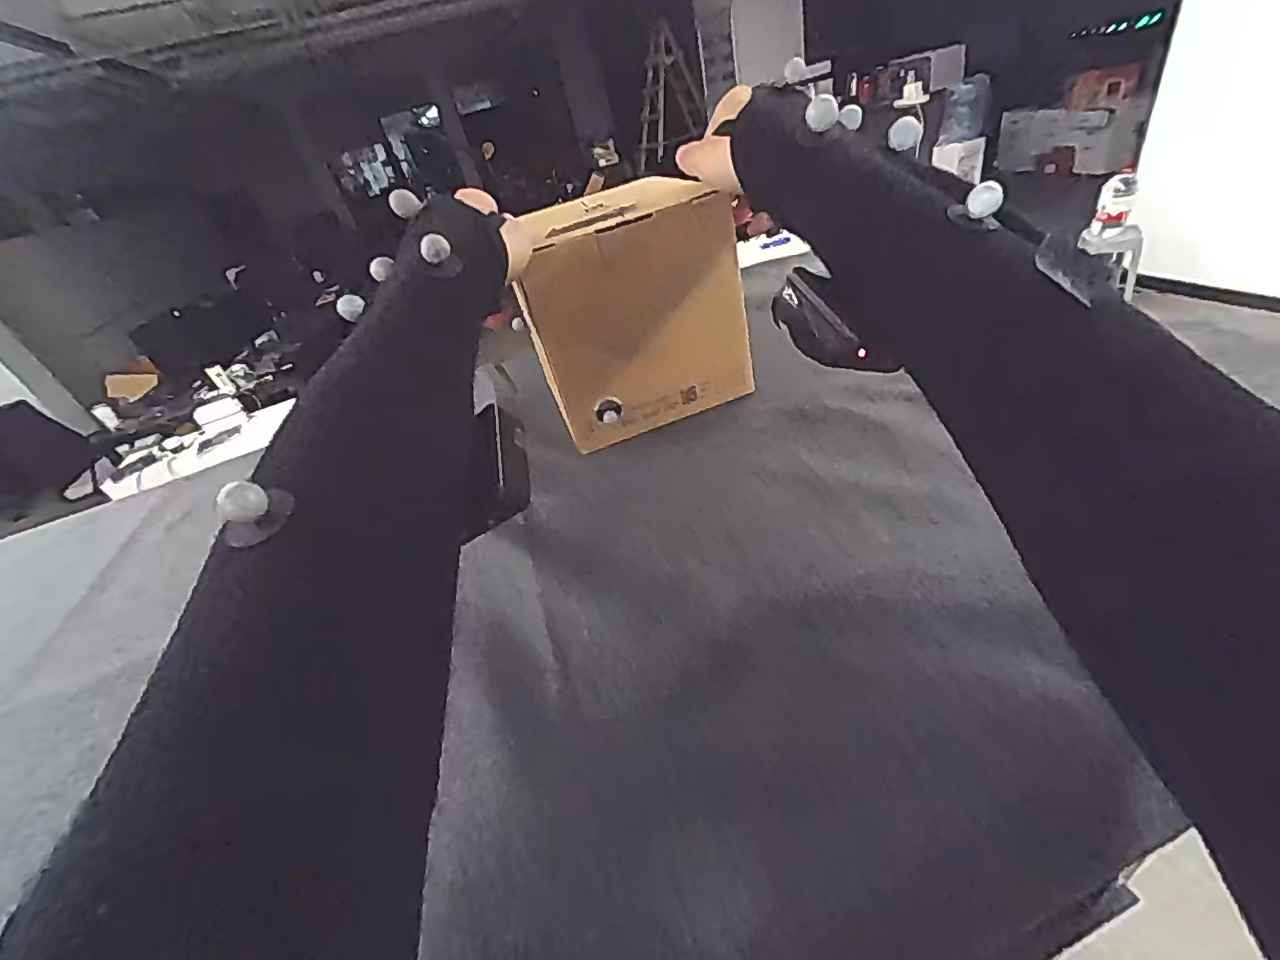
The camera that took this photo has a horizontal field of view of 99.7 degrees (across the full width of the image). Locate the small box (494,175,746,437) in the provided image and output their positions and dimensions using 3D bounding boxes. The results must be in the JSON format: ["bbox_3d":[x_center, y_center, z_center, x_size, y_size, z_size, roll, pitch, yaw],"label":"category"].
[{"bbox_3d":[-0.018,-0.157,0.491,0.168,0.176,0.179,-21,34,-7],"label":"small box"}]
